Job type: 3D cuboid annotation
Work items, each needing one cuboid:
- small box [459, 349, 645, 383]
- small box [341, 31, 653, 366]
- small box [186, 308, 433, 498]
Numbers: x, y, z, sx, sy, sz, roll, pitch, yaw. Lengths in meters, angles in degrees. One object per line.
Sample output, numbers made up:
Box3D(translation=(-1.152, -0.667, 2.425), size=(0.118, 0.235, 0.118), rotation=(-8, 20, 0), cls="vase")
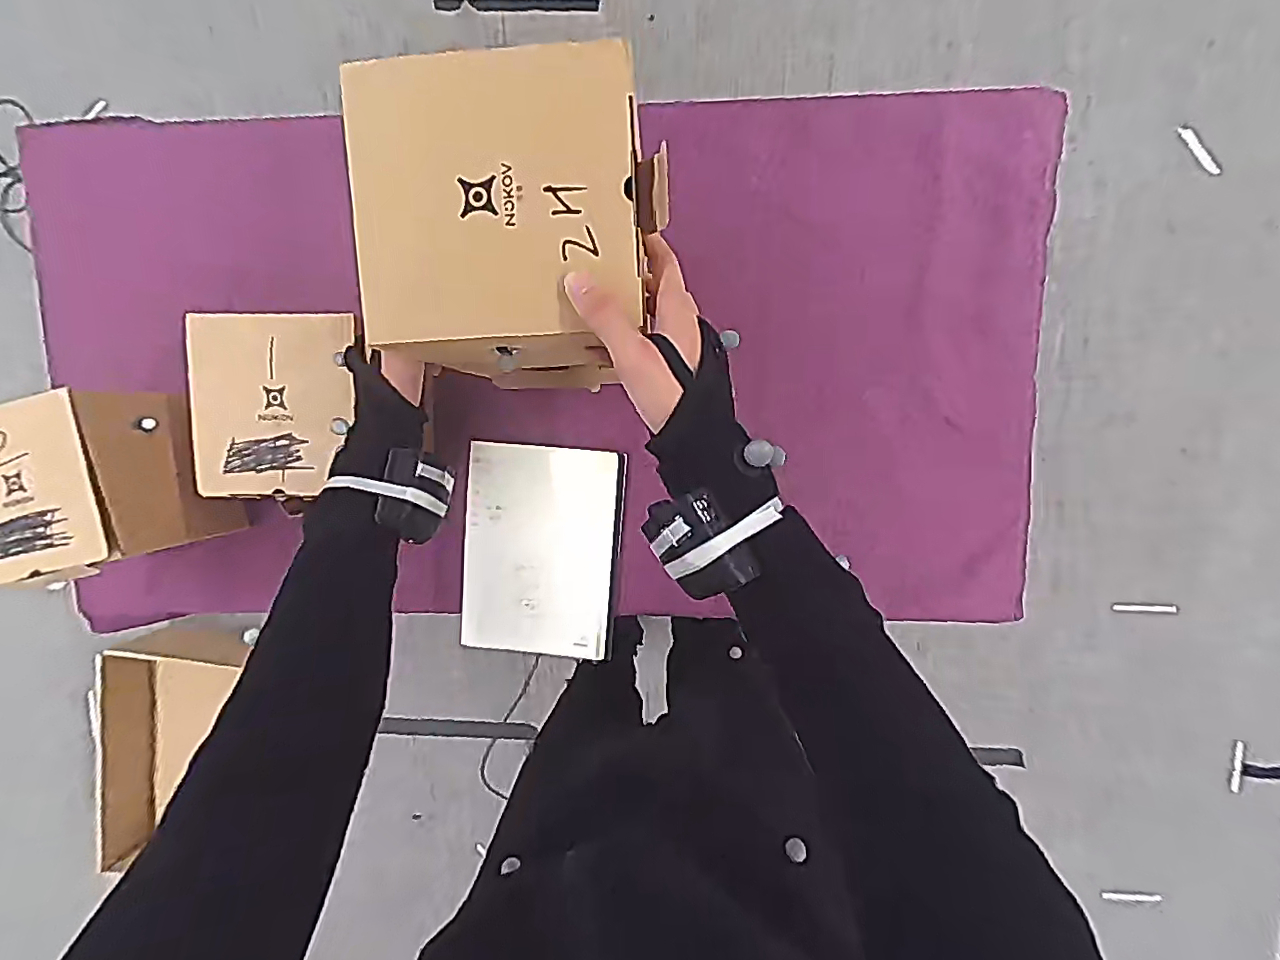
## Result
Box3D(translation=(-0.079, -0.194, 0.560), size=(0.168, 0.176, 0.179), rotation=(1, 96, 3), cls="small box")
Box3D(translation=(-0.082, -0.177, 0.396), size=(0.179, 0.176, 0.168), rotation=(-2, 96, 2), cls="small box")
Box3D(translation=(-0.338, -0.080, 0.586), size=(0.168, 0.176, 0.179), rotation=(1, 95, 3), cls="small box")
